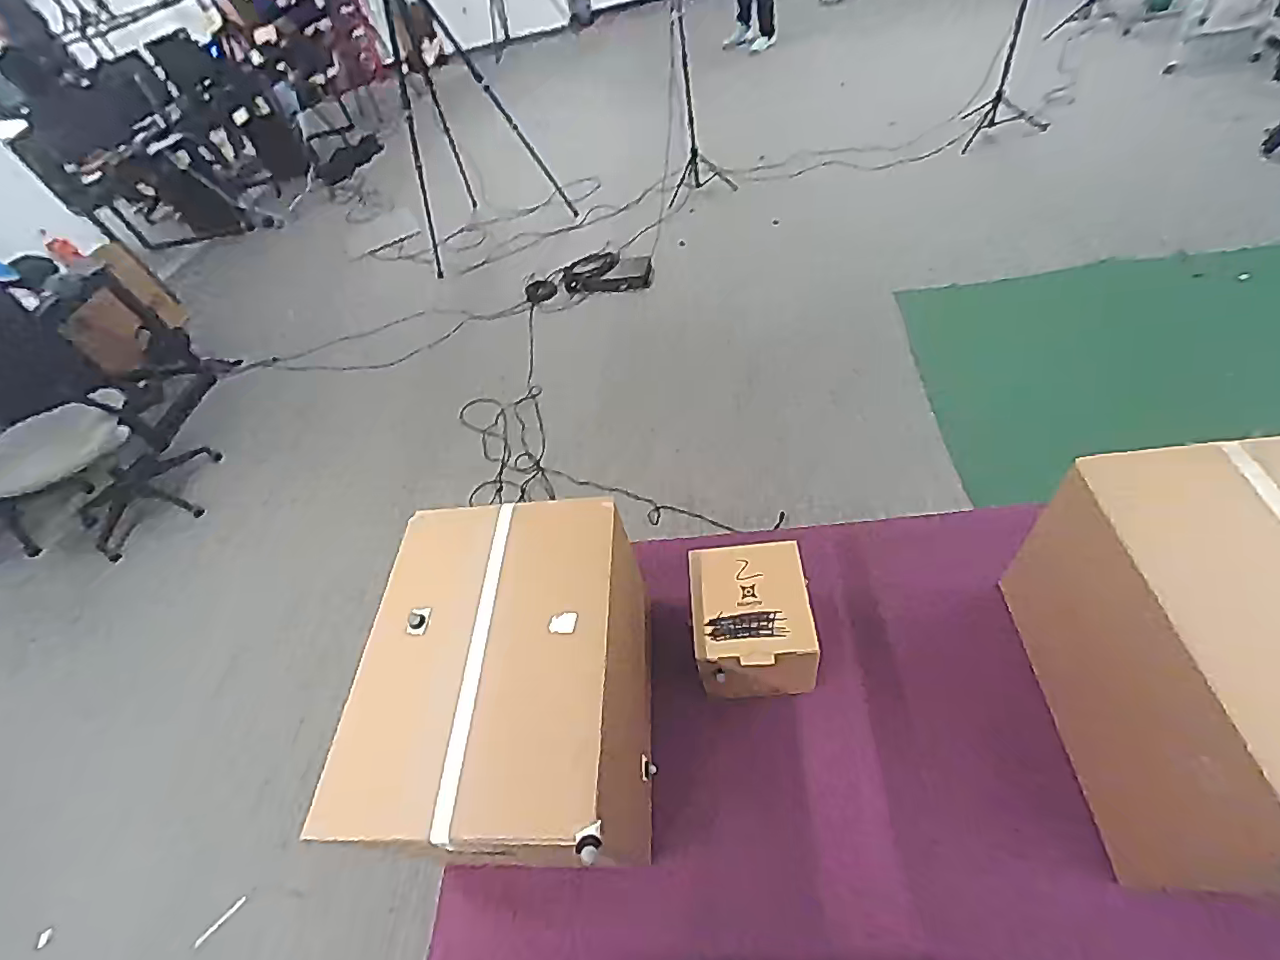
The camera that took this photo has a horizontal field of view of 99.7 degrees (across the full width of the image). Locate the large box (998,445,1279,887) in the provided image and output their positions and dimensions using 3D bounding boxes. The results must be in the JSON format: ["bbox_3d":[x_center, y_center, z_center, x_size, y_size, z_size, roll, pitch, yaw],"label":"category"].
[{"bbox_3d":[0.693,0.211,0.618,0.320,0.320,0.408,-6,51,10],"label":"large box"}]
